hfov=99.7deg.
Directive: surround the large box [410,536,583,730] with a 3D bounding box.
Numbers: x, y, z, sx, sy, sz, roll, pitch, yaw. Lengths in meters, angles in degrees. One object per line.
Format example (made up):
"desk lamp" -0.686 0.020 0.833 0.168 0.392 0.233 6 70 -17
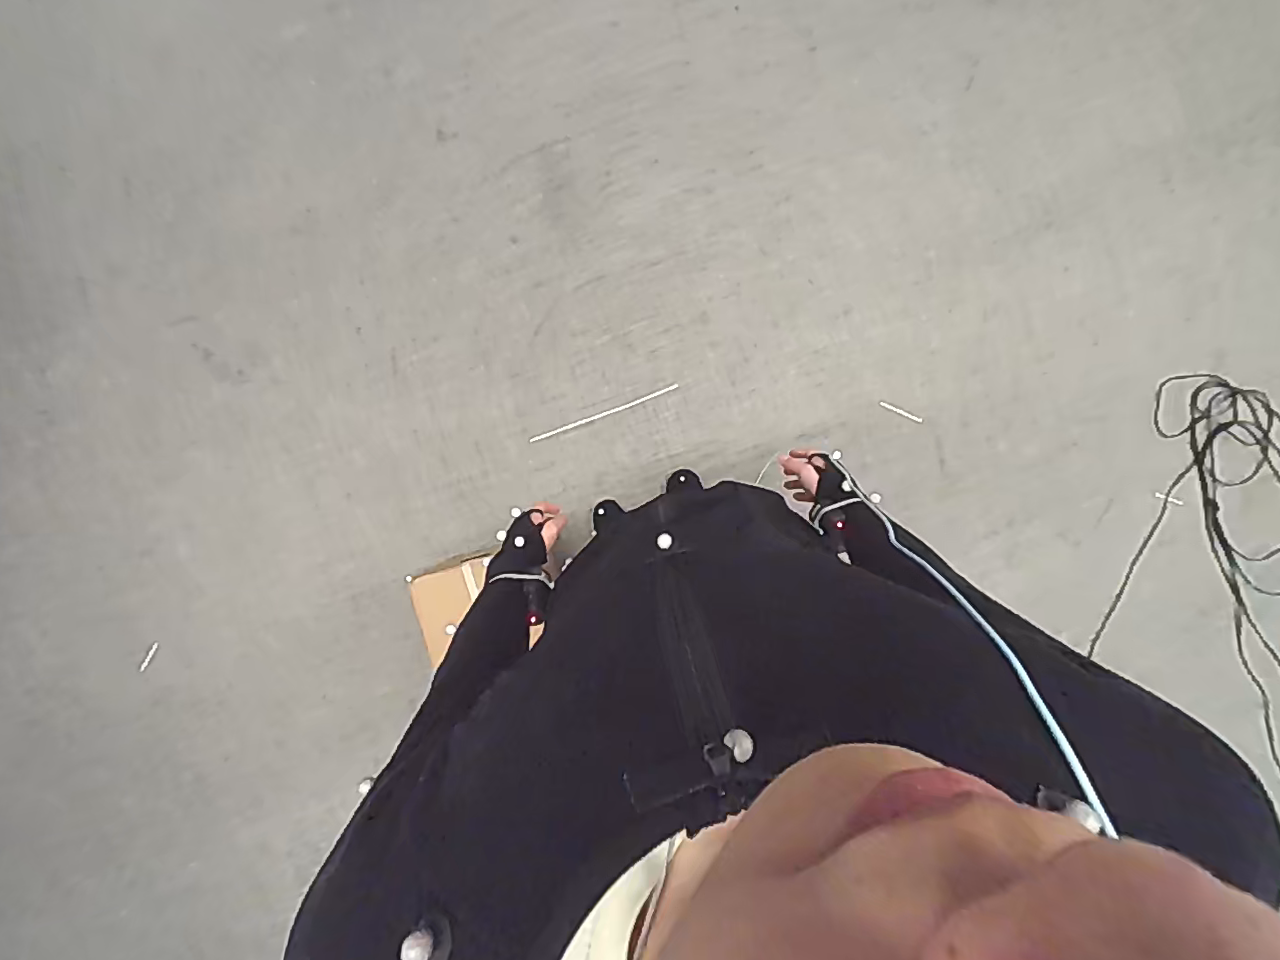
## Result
"large box" -0.377 0.402 1.511 0.320 0.320 0.408 -17 90 -1
